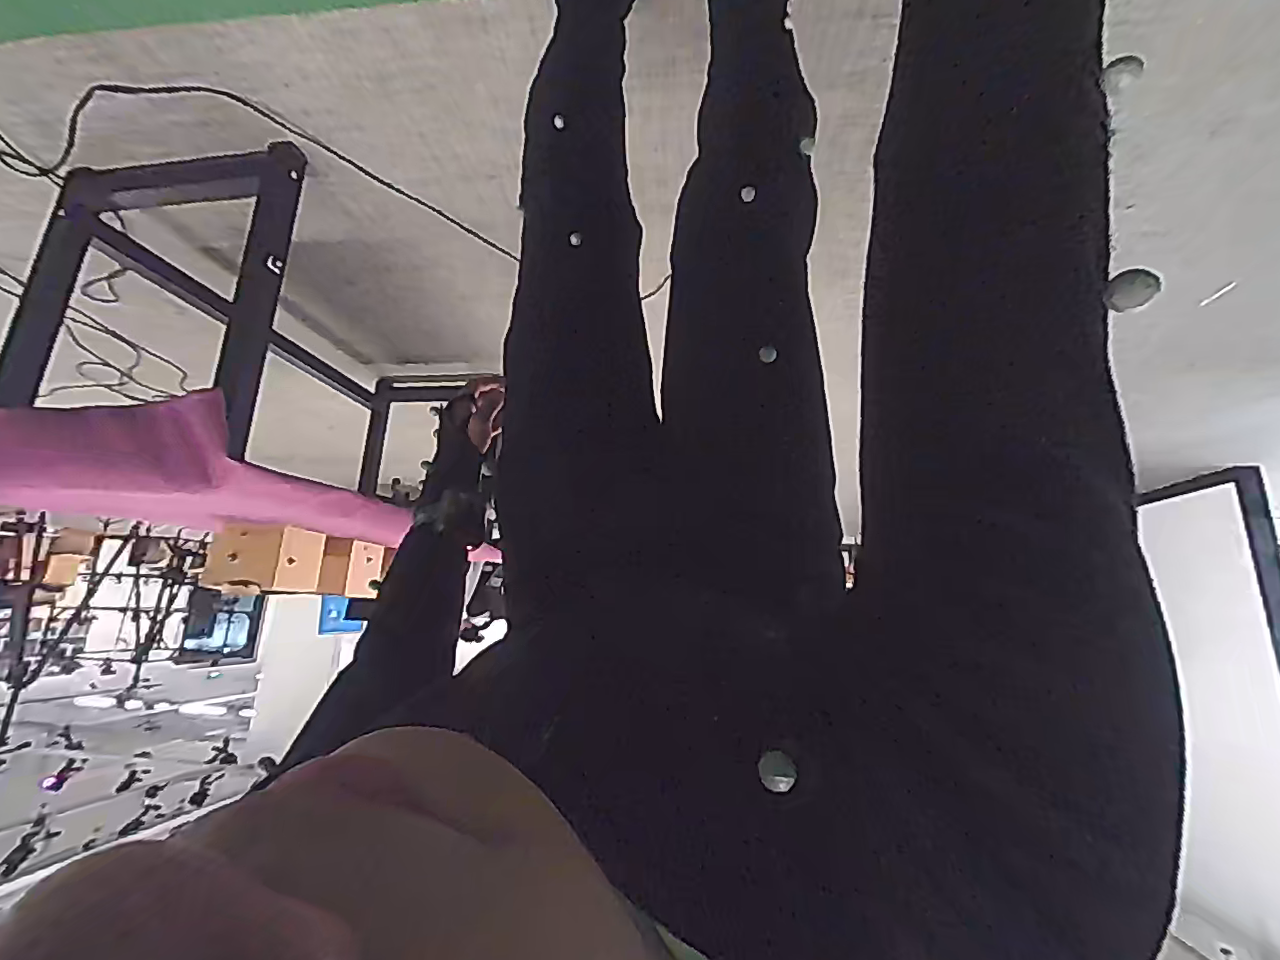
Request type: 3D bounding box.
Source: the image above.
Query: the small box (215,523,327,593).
[{"bbox_3d":[-0.966,0.208,1.429,0.168,0.176,0.179,2,167,3],"label":"small box"}]

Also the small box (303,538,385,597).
[{"bbox_3d":[-0.929,0.275,1.688,0.179,0.176,0.168,0,166,7],"label":"small box"}]
